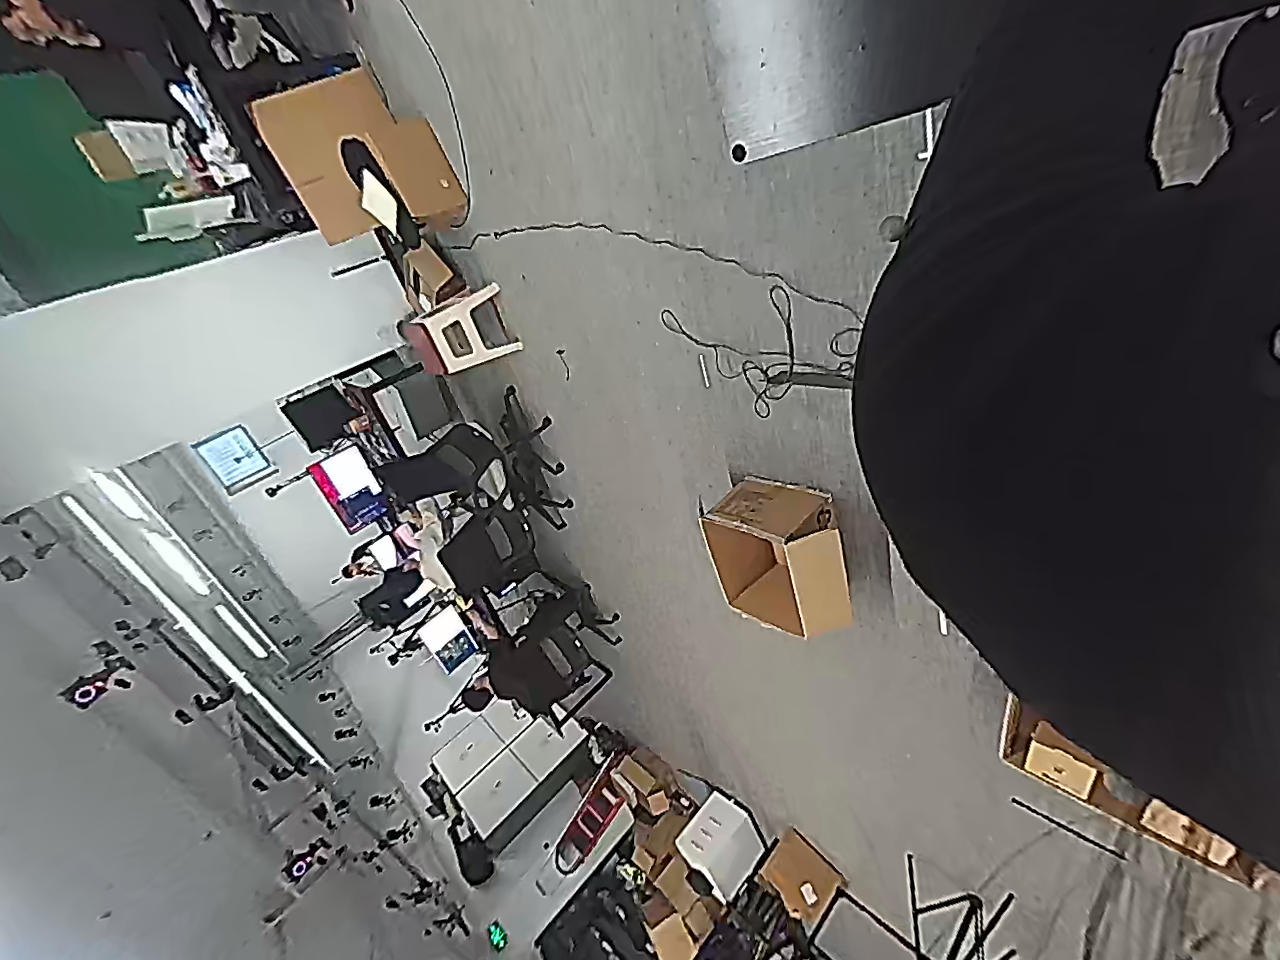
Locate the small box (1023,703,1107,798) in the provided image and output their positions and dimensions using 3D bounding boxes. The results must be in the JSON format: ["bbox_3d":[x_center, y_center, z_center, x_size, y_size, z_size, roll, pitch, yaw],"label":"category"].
[{"bbox_3d":[1.358,0.856,1.728,0.168,0.176,0.179,20,135,43],"label":"small box"}]

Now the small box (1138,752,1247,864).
[{"bbox_3d":[1.548,0.909,1.516,0.179,0.176,0.168,20,134,47],"label":"small box"}]
